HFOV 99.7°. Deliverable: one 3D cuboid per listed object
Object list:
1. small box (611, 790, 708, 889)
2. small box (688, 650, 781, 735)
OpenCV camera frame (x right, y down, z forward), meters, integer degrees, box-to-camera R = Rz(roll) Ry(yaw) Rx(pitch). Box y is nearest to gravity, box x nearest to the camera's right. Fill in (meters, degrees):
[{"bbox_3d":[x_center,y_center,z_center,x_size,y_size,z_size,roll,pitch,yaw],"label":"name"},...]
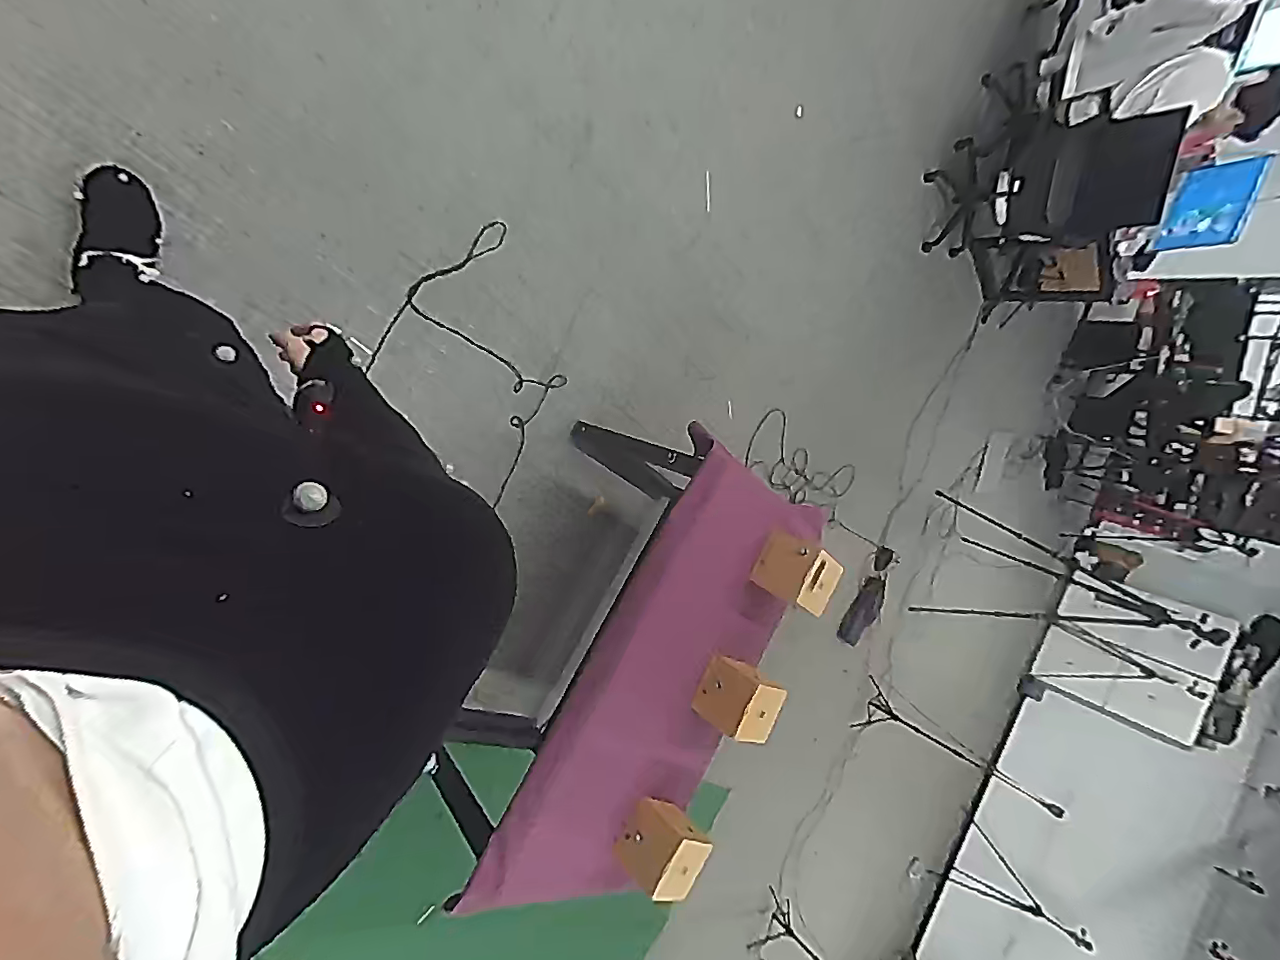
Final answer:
[{"bbox_3d":[0.053,1.009,1.524,0.179,0.176,0.168,44,74,-41],"label":"small box"},{"bbox_3d":[0.275,0.620,1.584,0.179,0.176,0.168,29,85,-42],"label":"small box"}]
